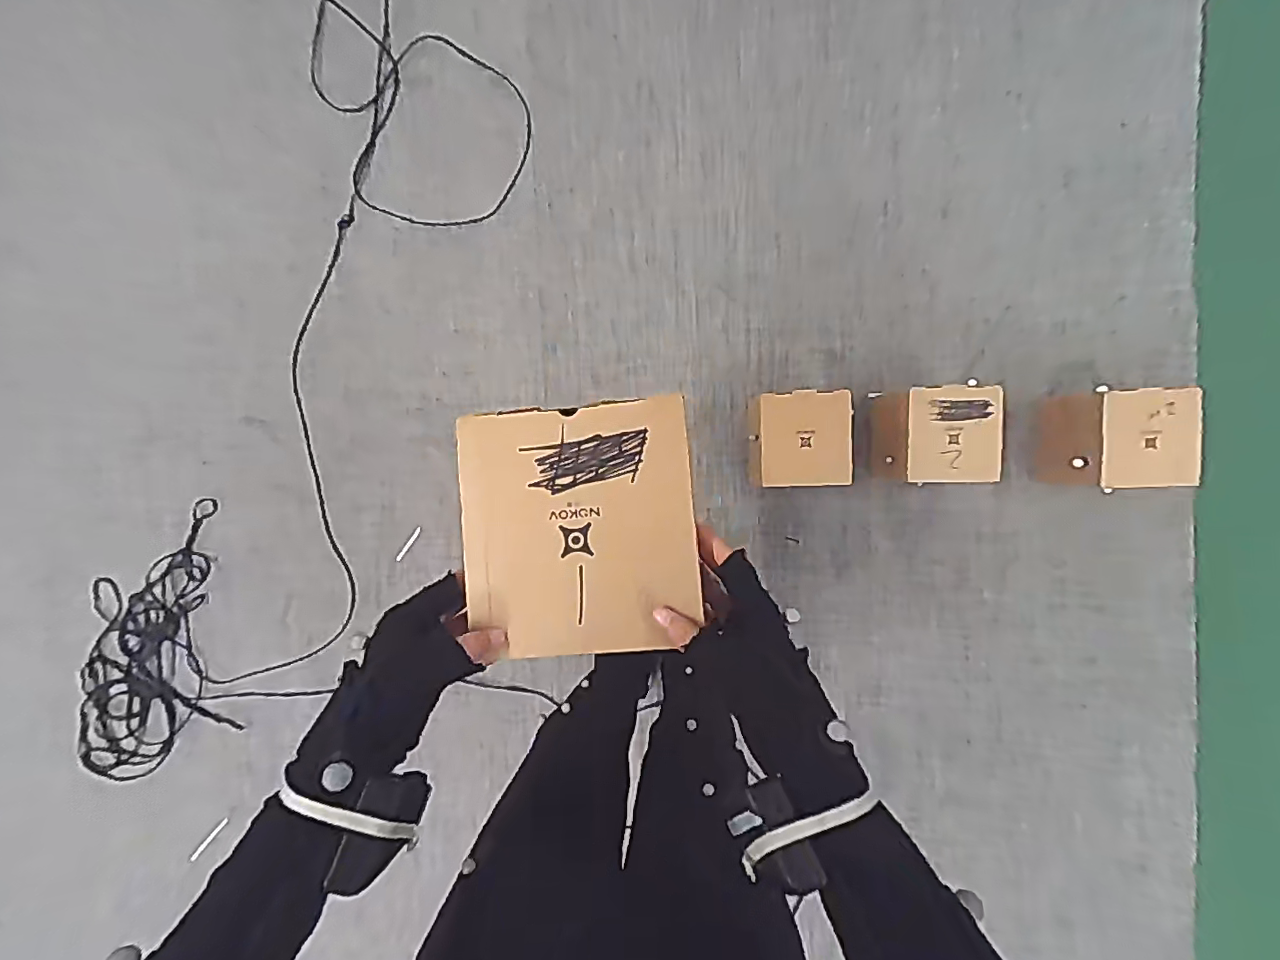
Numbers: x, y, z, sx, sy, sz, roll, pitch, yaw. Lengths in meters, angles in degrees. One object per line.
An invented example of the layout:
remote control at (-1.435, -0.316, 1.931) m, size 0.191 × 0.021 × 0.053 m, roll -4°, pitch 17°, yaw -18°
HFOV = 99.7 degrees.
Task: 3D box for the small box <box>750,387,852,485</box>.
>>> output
small box at (0.311, -0.085, 1.069) m, size 0.168 × 0.176 × 0.179 m, roll -2°, pitch 92°, yaw 5°

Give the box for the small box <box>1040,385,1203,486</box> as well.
small box at (0.899, -0.083, 1.026) m, size 0.168 × 0.176 × 0.179 m, roll -2°, pitch 93°, yaw 4°

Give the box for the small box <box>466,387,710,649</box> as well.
small box at (-0.033, 0.031, 0.456) m, size 0.168 × 0.176 × 0.179 m, roll -5°, pitch 87°, yaw 4°
